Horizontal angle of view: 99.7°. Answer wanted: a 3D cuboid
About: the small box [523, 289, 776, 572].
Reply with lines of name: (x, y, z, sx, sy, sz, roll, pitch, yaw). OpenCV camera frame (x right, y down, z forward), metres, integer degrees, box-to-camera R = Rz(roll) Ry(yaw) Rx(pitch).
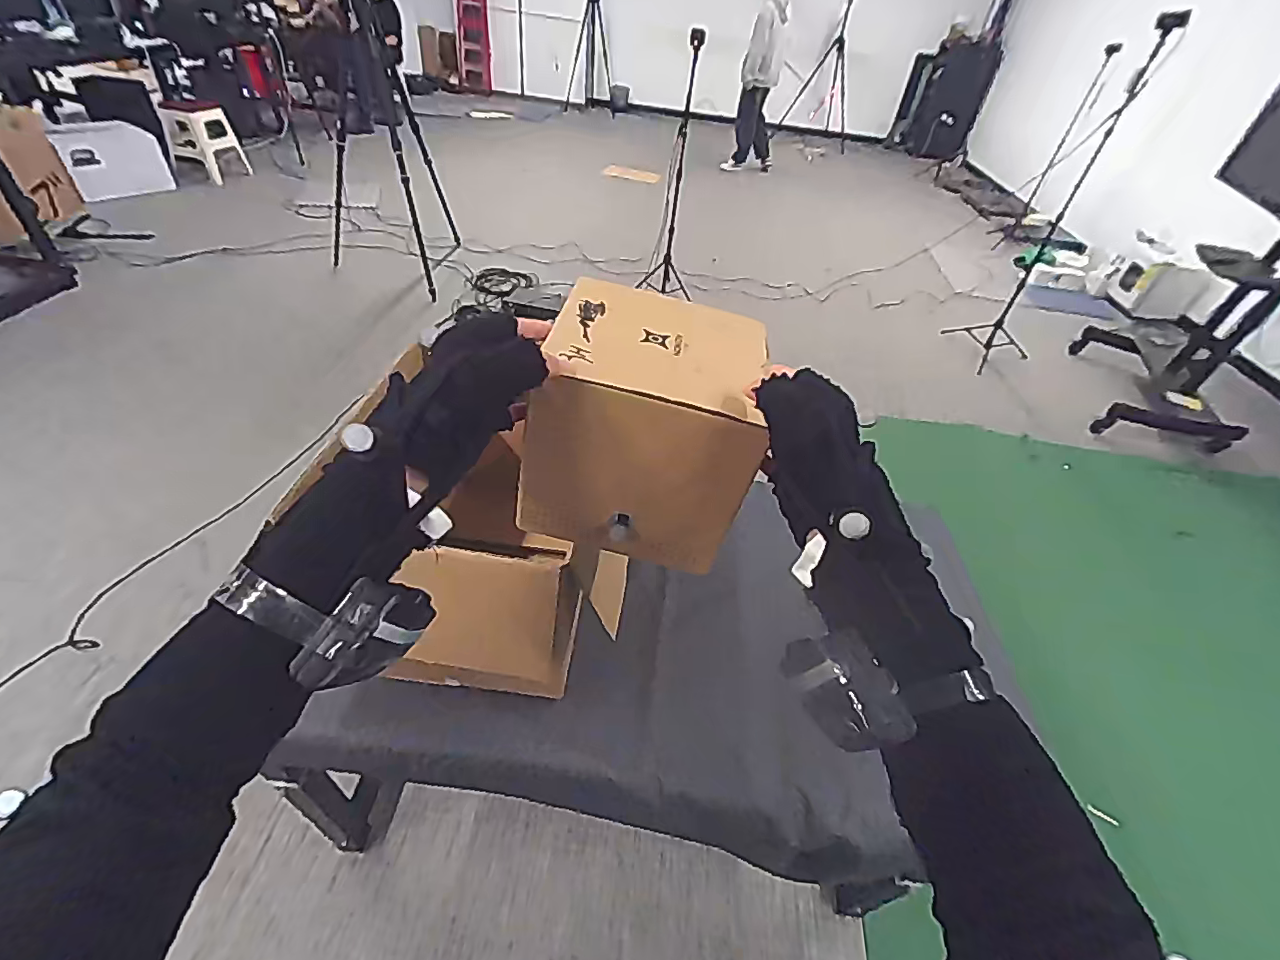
small box: (0.005, -0.040, 0.486, 0.179, 0.176, 0.168, 14, 41, -3)
